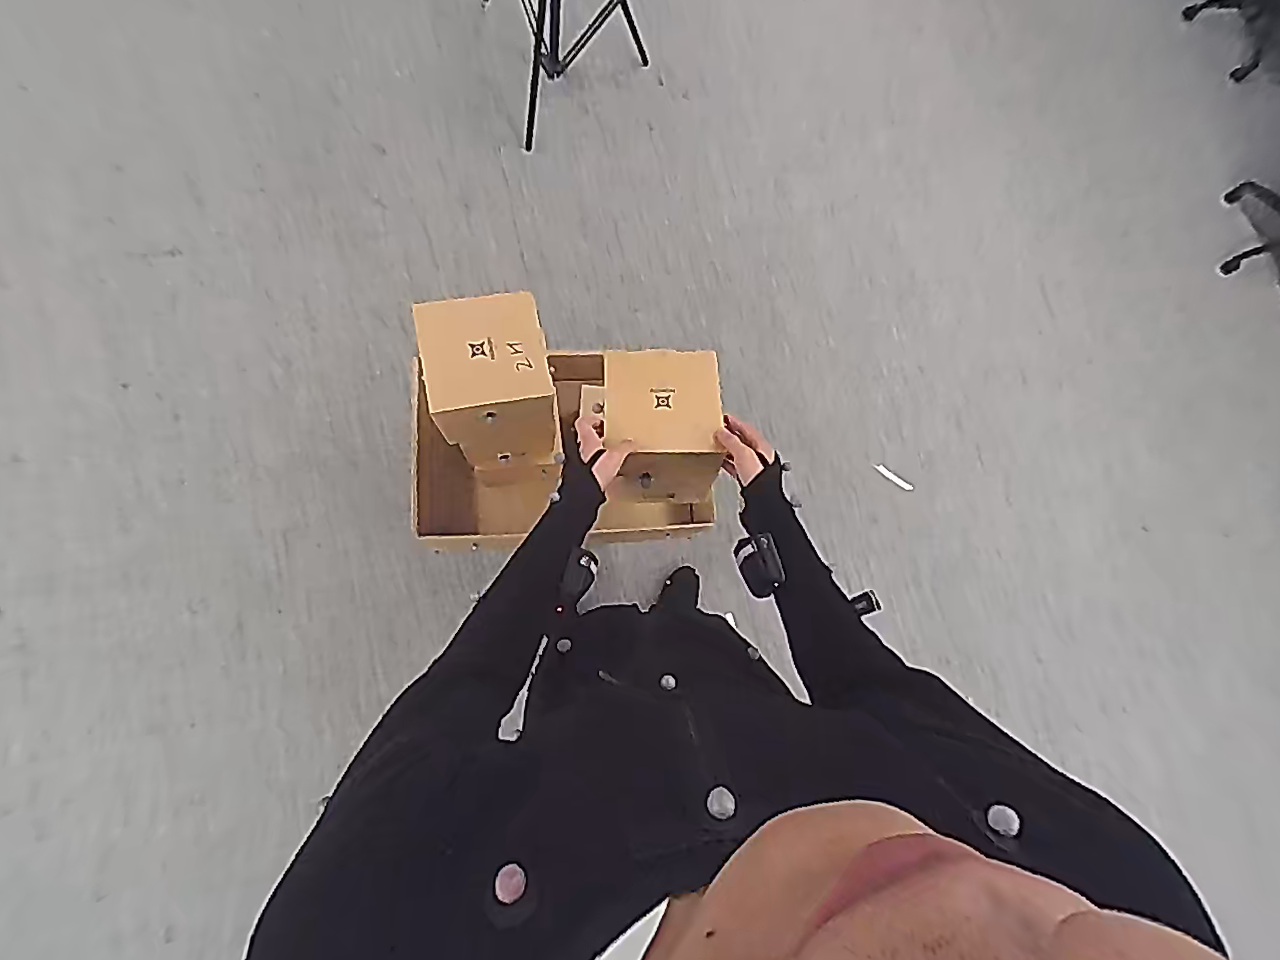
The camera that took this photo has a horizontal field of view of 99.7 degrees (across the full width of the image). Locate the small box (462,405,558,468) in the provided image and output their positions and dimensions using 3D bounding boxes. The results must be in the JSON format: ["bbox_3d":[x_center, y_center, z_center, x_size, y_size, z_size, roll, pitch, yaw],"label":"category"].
[{"bbox_3d":[-0.253,-0.135,1.006,0.168,0.176,0.179,-11,81,-12],"label":"small box"}]

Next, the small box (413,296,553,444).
[{"bbox_3d":[-0.235,-0.163,0.846,0.179,0.176,0.168,-10,81,-12],"label":"small box"}]

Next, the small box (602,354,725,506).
[{"bbox_3d":[0.028,-0.069,0.819,0.168,0.176,0.179,0,62,-3],"label":"small box"}]
